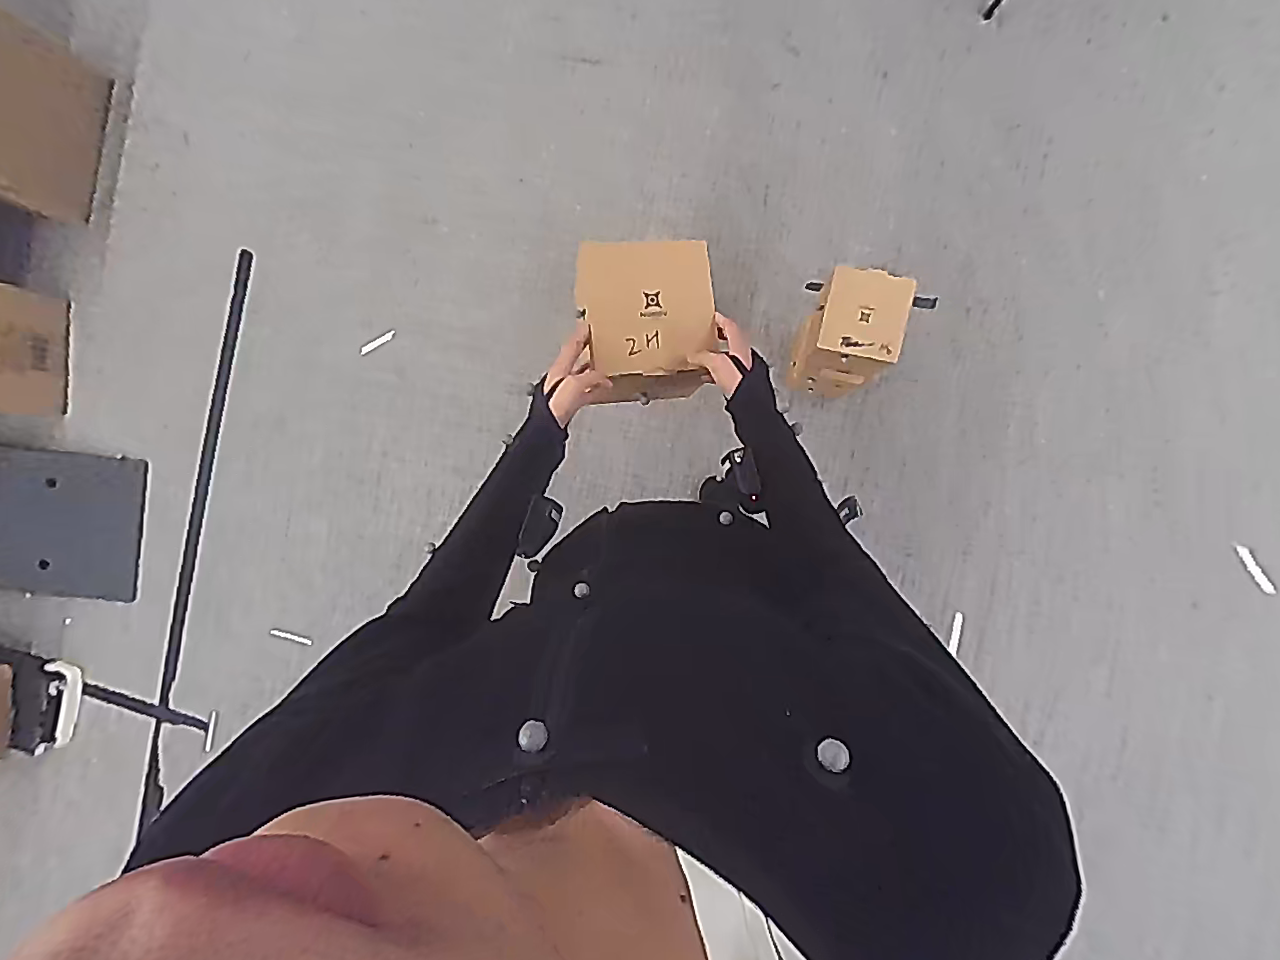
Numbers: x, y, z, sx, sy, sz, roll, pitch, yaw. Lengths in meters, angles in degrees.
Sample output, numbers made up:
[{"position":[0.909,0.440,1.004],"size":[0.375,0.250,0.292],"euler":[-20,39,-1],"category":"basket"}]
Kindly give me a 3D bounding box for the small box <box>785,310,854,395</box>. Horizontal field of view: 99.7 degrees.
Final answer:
[{"position":[0.511,-0.347,1.499],"size":[0.168,0.176,0.179],"euler":[15,93,6],"category":"small box"}]

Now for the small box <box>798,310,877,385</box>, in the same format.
[{"position":[0.498,-0.344,1.335],"size":[0.168,0.176,0.179],"euler":[14,92,6],"category":"small box"}]

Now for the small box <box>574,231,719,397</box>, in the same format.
[{"position":[-0.001,-0.224,0.762],"size":[0.168,0.176,0.179],"euler":[-6,88,-10],"category":"small box"}]

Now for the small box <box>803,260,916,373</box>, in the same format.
[{"position":[0.465,-0.346,1.173],"size":[0.168,0.176,0.179],"euler":[14,92,6],"category":"small box"}]
